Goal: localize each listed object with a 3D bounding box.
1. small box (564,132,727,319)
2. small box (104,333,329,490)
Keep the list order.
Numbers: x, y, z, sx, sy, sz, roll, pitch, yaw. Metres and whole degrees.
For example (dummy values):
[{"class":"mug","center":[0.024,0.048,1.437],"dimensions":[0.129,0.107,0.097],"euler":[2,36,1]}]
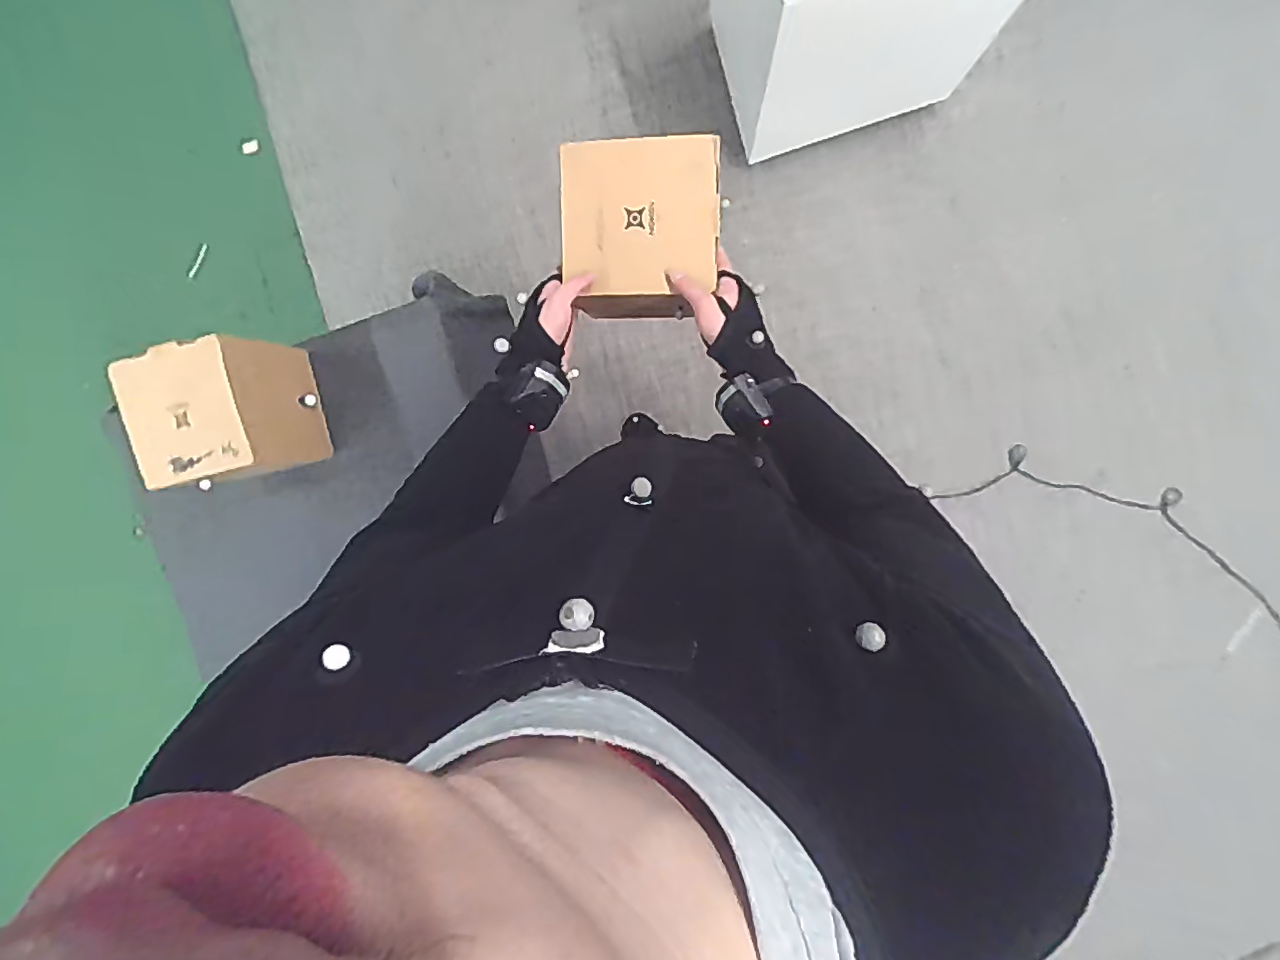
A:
[{"class":"small box","center":[0.013,-0.296,0.662],"dimensions":[0.179,0.176,0.168],"euler":[1,97,7]},{"class":"small box","center":[-0.590,-0.094,0.777],"dimensions":[0.168,0.176,0.179],"euler":[-13,95,6]}]
